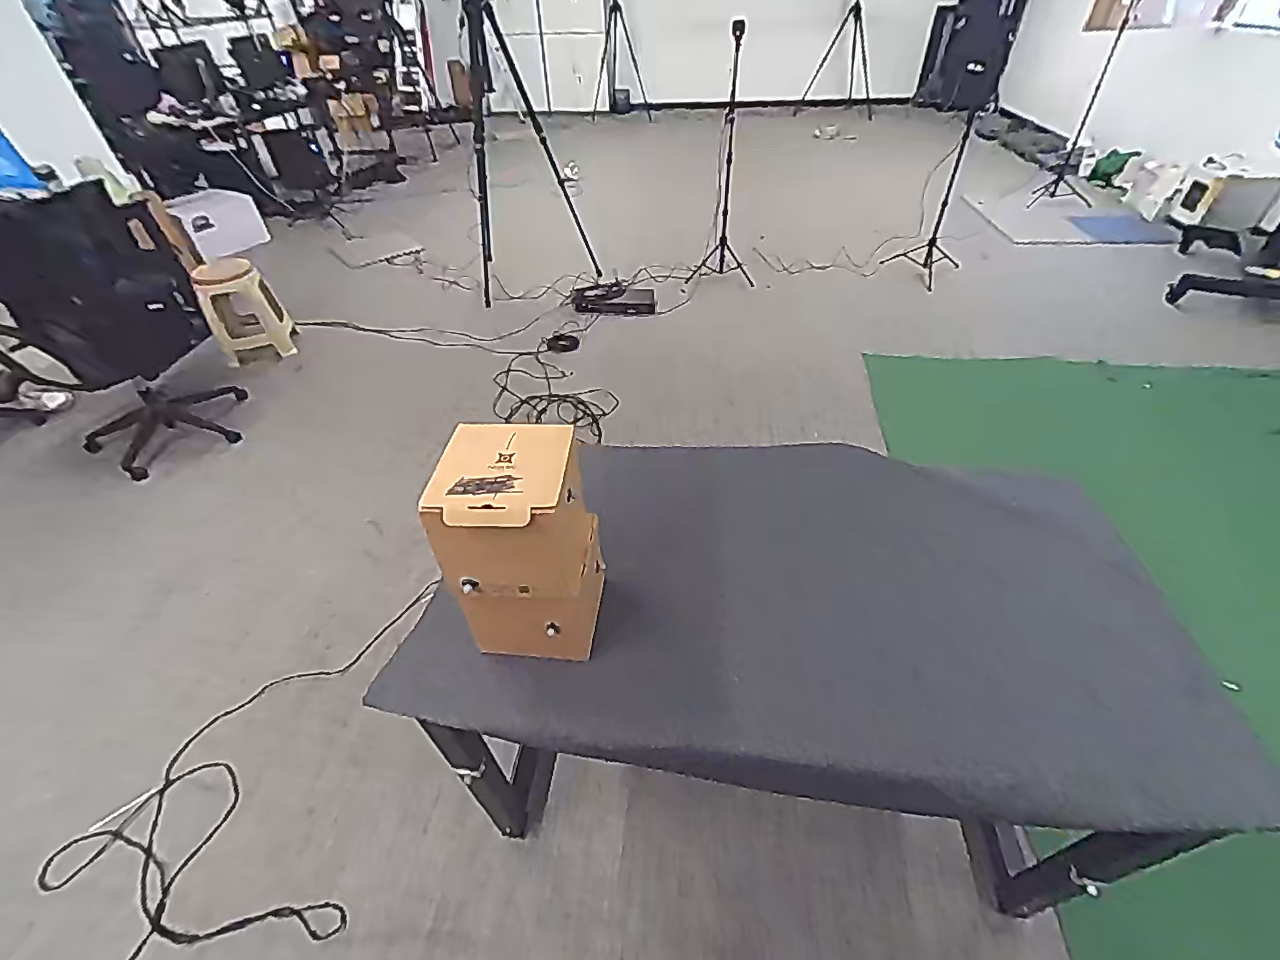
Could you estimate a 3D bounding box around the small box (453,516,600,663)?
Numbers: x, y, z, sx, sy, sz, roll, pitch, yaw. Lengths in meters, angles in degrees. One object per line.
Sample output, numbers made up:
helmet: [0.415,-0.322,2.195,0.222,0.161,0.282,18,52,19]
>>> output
small box: [-0.162,0.169,0.848,0.179,0.176,0.168,2,41,6]

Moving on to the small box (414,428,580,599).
small box: [-0.178,0.047,0.739,0.168,0.176,0.179,0,40,2]
